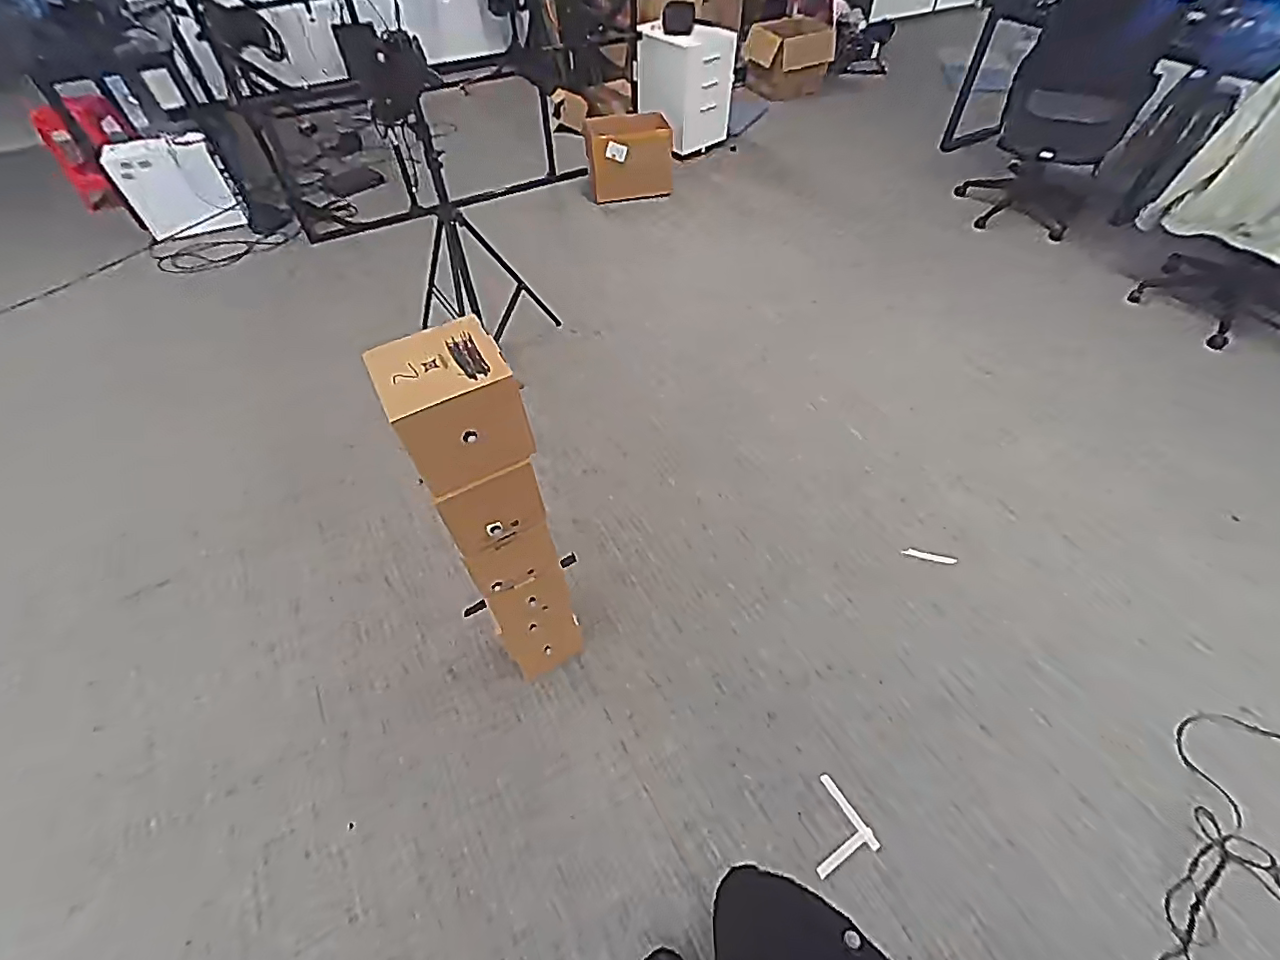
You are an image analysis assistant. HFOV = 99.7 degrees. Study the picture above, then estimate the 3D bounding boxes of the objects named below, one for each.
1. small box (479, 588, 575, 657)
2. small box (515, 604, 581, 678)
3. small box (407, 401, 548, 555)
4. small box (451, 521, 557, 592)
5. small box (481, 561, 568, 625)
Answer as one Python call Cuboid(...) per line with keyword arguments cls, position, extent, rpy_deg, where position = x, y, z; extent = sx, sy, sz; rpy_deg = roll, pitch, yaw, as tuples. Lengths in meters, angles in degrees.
Cuboid(cls="small box", position=(-0.274, 0.307, 1.326), extent=(0.179, 0.176, 0.168), rpy_deg=(-23, 56, -15))
Cuboid(cls="small box", position=(-0.267, 0.403, 1.459), extent=(0.179, 0.176, 0.168), rpy_deg=(-25, 56, -17))
Cuboid(cls="small box", position=(-0.278, -0.001, 0.945), extent=(0.168, 0.176, 0.179), rpy_deg=(-26, 57, -17))
Cuboid(cls="small box", position=(-0.277, 0.099, 1.072), extent=(0.168, 0.176, 0.179), rpy_deg=(-24, 55, -16))
Cuboid(cls="small box", position=(-0.271, 0.201, 1.201), extent=(0.168, 0.176, 0.179), rpy_deg=(-23, 56, -16))
